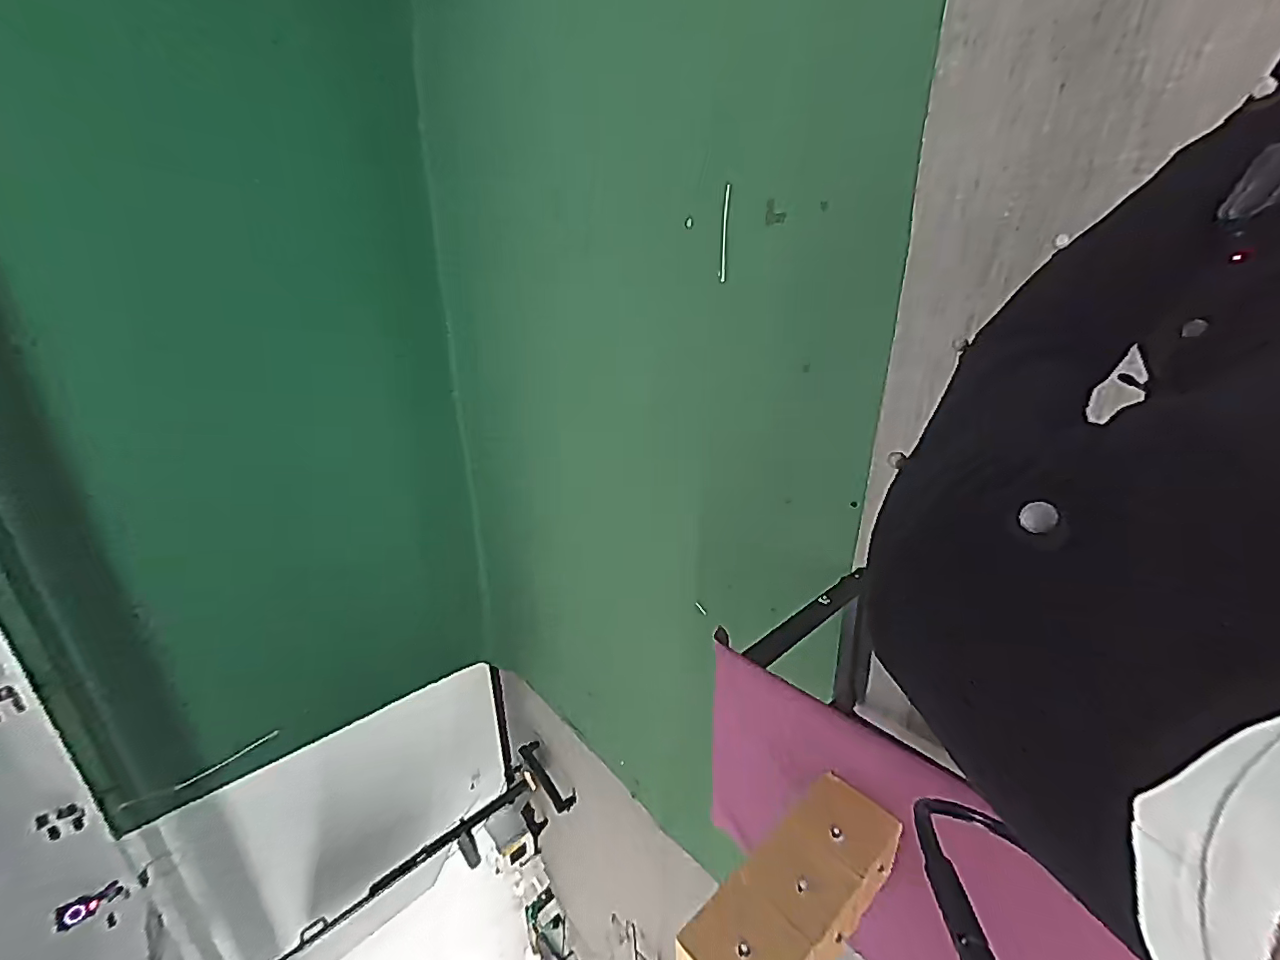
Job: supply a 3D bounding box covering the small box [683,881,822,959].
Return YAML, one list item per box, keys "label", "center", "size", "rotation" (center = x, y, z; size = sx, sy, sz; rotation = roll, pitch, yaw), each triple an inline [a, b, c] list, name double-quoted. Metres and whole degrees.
- label: "small box"
  center: [0.194, 0.863, 0.955]
  size: [0.179, 0.176, 0.168]
  rotation: [19, 119, 43]

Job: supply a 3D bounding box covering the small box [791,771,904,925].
- label: "small box"
  center: [0.437, 0.772, 1.157]
  size: [0.179, 0.176, 0.168]
  rotation: [23, 122, 43]

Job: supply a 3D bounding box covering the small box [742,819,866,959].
- label: "small box"
  center: [0.317, 0.818, 1.056]
  size: [0.179, 0.176, 0.168]
  rotation: [21, 120, 43]
